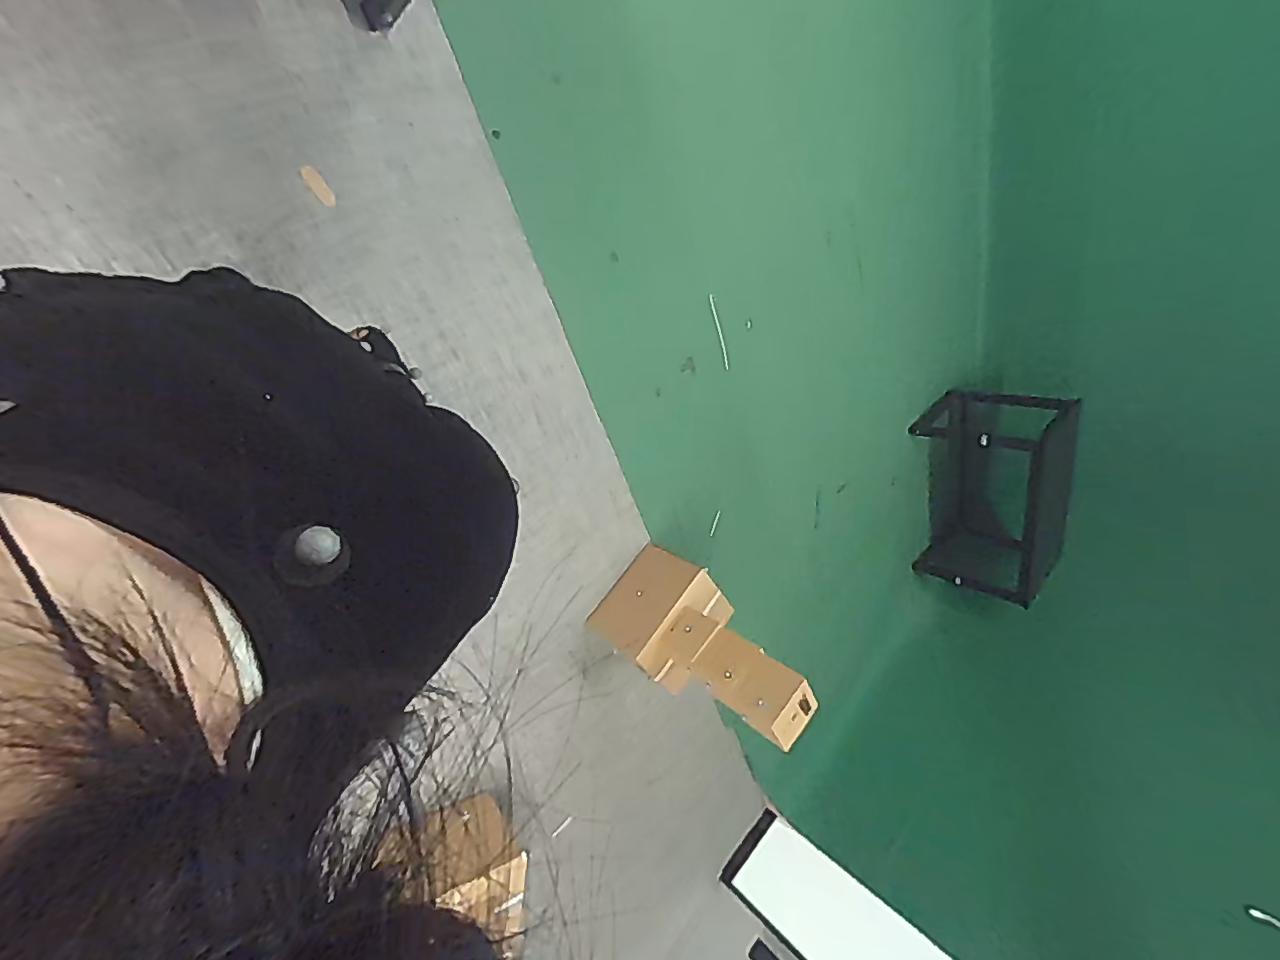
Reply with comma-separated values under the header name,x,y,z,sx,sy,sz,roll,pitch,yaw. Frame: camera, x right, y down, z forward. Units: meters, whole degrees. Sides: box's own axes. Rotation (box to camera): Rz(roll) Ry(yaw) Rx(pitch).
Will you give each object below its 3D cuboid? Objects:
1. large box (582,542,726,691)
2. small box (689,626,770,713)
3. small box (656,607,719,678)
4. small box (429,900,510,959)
name,x,y,z,sx,sy,sz,roll,pitch,yaw
large box,0.058,0.515,2.086,0.408,0.320,0.320,-51,131,-19
small box,0.290,0.610,1.763,0.179,0.176,0.168,-44,127,-22
small box,0.186,0.567,1.879,0.168,0.176,0.179,-45,128,-21
small box,-0.486,1.355,1.523,0.179,0.176,0.168,-5,108,-39
